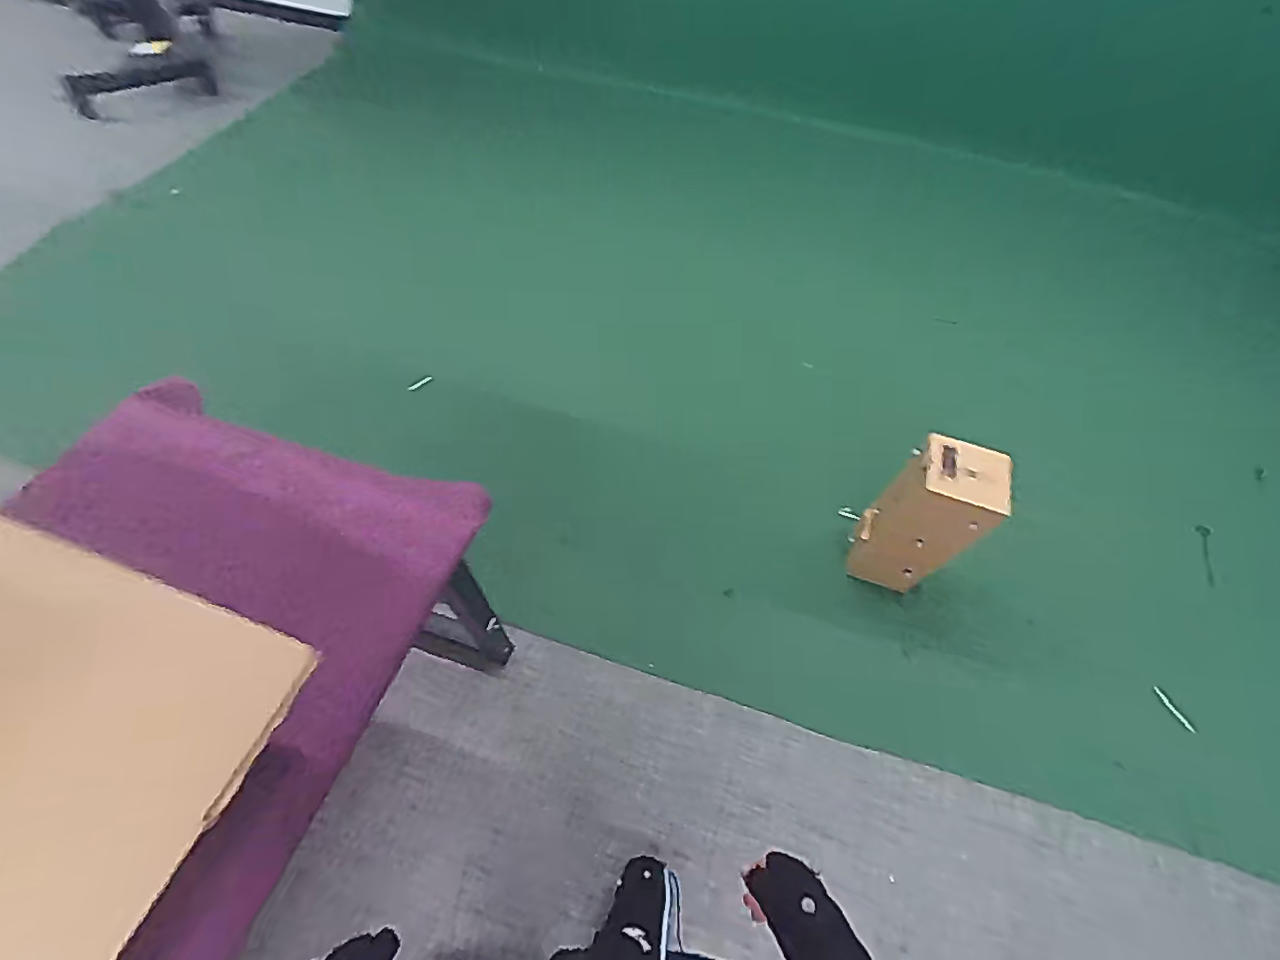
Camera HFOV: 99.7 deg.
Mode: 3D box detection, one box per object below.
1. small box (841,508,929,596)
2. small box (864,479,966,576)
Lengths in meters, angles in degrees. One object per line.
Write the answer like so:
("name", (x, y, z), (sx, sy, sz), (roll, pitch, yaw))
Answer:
("small box", (0.698, 0.210, 1.537), (0.179, 0.176, 0.168), (18, 58, 7))
("small box", (0.706, 0.129, 1.396), (0.179, 0.176, 0.168), (19, 58, 8))
